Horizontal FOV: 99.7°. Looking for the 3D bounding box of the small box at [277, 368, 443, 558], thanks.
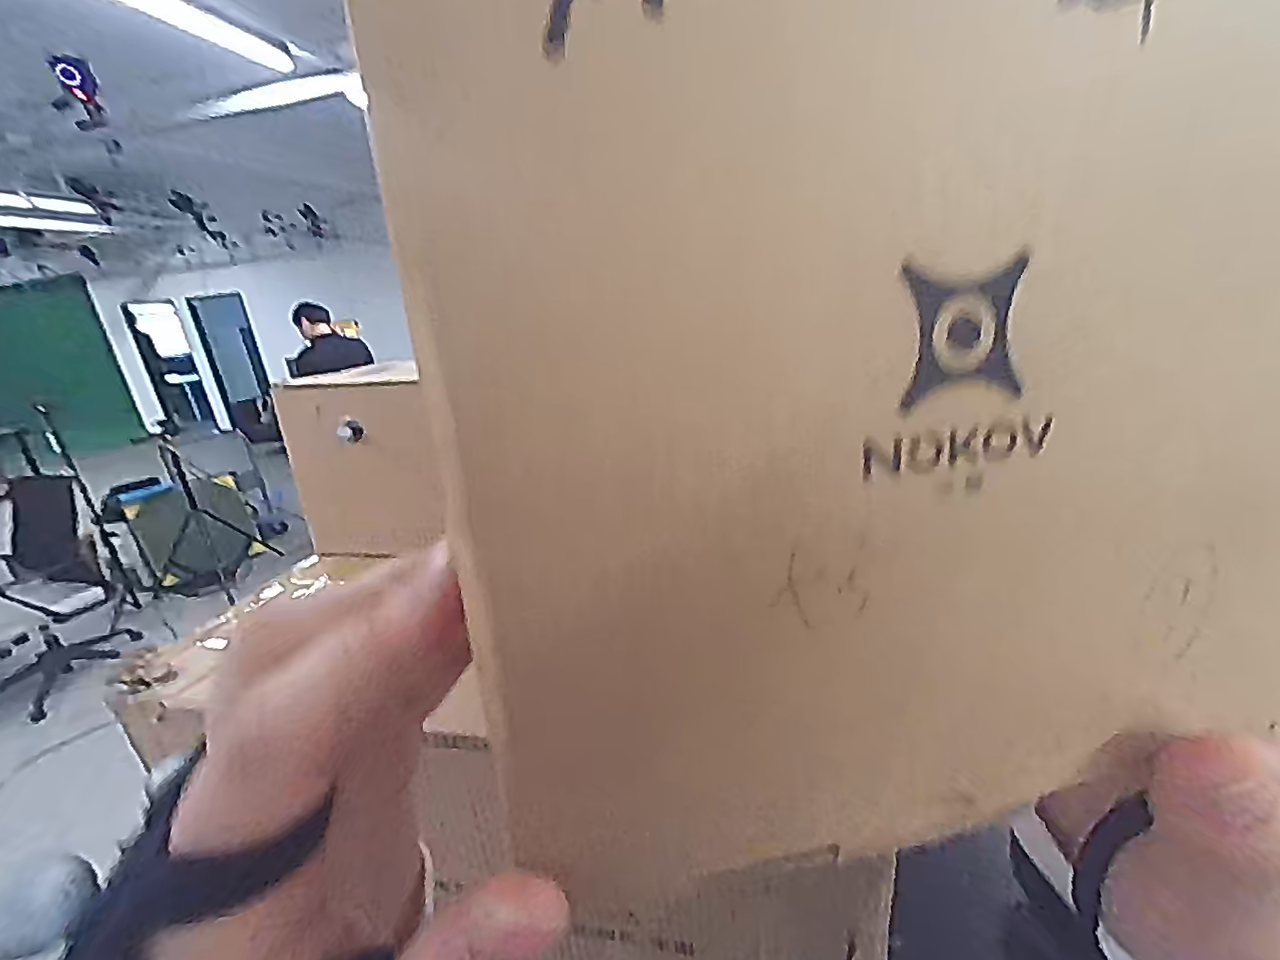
[{"bbox_3d":[-0.226,-0.027,0.569,0.179,0.176,0.168,0,19,12],"label":"small box"}]
